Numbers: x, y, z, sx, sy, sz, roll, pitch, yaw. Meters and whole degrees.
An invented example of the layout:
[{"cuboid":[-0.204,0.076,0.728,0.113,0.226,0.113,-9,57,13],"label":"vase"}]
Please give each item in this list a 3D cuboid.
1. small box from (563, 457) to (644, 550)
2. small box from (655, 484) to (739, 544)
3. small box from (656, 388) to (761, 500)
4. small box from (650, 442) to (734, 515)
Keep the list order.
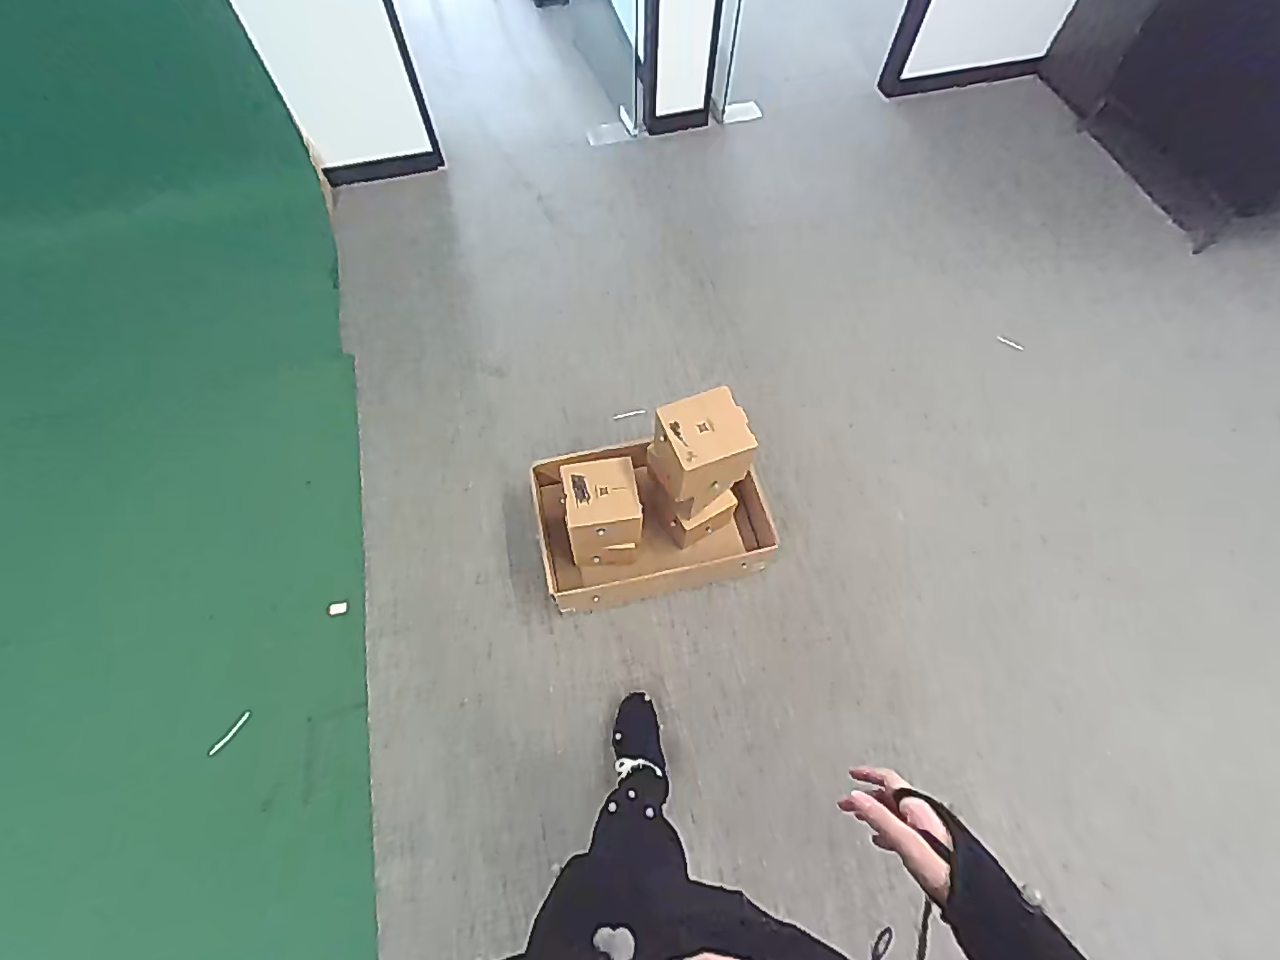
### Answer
[{"cuboid":[-0.089,0.063,1.340,0.179,0.176,0.168,-8,64,-6],"label":"small box"},{"cuboid":[0.155,0.064,1.524,0.168,0.176,0.179,-27,67,-12],"label":"small box"},{"cuboid":[0.147,-0.077,1.231,0.179,0.176,0.168,-19,66,-10],"label":"small box"},{"cuboid":[0.141,-0.031,1.389,0.168,0.176,0.179,-37,70,-16],"label":"small box"}]
